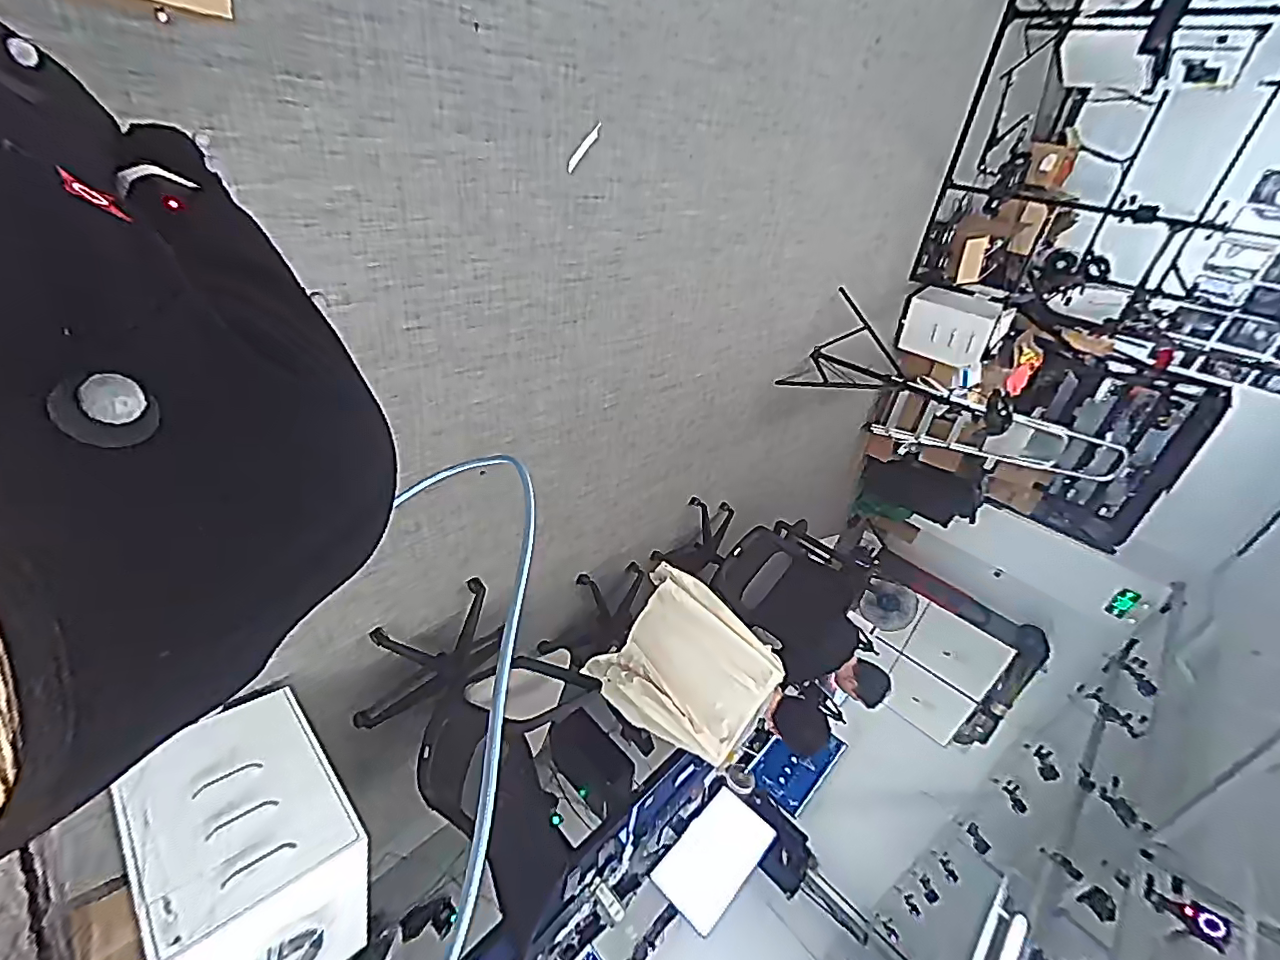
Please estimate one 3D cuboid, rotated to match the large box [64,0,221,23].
[{"bbox_3d":[-0.791,-0.768,0.615,0.408,0.320,0.320,-21,132,-43],"label":"large box"}]
